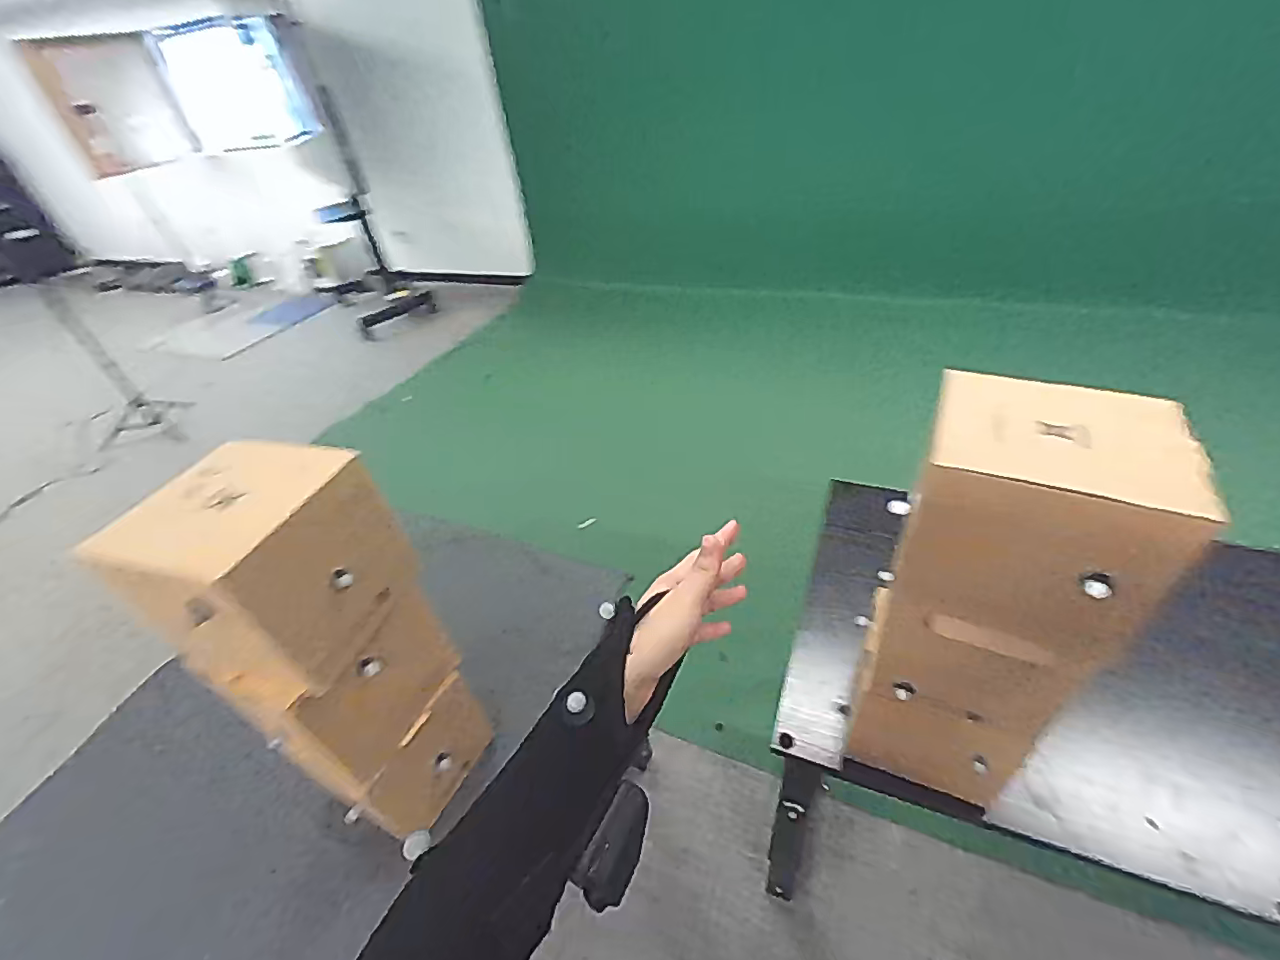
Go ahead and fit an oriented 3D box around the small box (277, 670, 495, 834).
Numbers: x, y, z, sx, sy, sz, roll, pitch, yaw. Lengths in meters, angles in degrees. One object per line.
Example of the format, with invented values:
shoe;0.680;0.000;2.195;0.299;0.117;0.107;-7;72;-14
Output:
small box;-0.327;0.344;0.733;0.179;0.176;0.168;13;44;25

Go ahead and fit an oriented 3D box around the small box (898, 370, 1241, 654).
small box;0.350;0.025;0.480;0.179;0.176;0.168;14;43;24

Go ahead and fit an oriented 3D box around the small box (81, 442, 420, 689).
small box;-0.357;0.082;0.537;0.179;0.176;0.168;5;41;18

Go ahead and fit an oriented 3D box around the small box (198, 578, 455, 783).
small box;-0.345;0.213;0.638;0.168;0.176;0.179;11;44;24

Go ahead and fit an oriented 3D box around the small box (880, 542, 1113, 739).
small box;0.371;0.144;0.589;0.168;0.176;0.179;14;44;23
